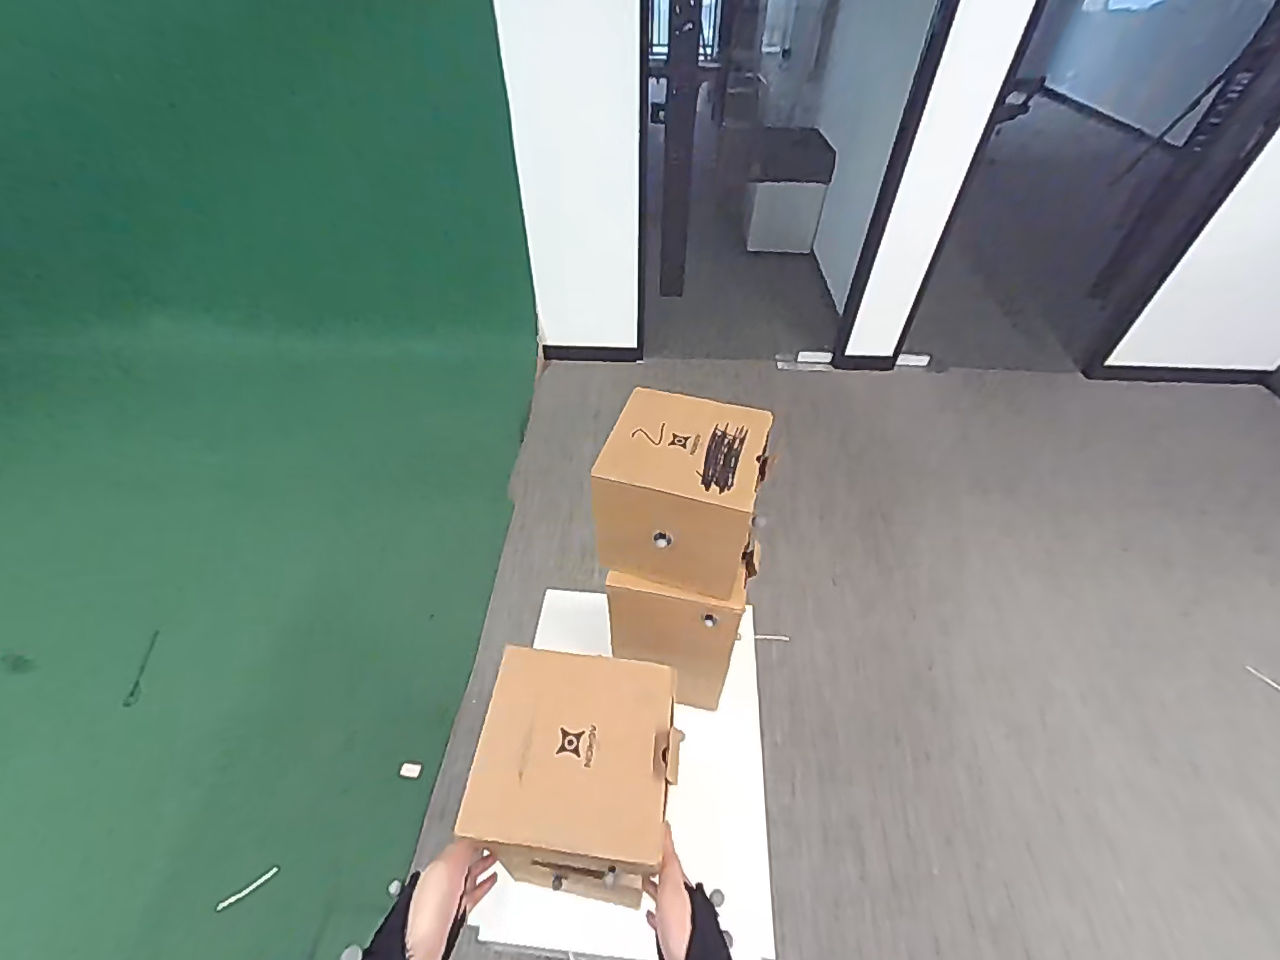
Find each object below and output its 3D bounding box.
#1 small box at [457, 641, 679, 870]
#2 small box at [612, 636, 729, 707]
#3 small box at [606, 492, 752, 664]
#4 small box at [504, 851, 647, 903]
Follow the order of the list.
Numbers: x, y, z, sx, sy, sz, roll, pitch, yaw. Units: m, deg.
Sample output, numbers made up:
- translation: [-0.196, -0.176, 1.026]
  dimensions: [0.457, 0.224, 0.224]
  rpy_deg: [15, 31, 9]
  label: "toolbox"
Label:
- translation: [-0.057, 0.284, 0.551]
  dimensions: [0.179, 0.176, 0.168]
  rpy_deg: [5, 50, 4]
  label: "small box"
- translation: [0.059, 0.254, 0.895]
  dimensions: [0.179, 0.176, 0.168]
  rpy_deg: [9, 47, 8]
  label: "small box"
- translation: [0.056, 0.143, 0.776]
  dimensions: [0.179, 0.176, 0.168]
  rpy_deg: [9, 47, 7]
  label: "small box"
- translation: [-0.068, 0.434, 0.715]
  dimensions: [0.179, 0.176, 0.168]
  rpy_deg: [9, 46, 6]
  label: "small box"
